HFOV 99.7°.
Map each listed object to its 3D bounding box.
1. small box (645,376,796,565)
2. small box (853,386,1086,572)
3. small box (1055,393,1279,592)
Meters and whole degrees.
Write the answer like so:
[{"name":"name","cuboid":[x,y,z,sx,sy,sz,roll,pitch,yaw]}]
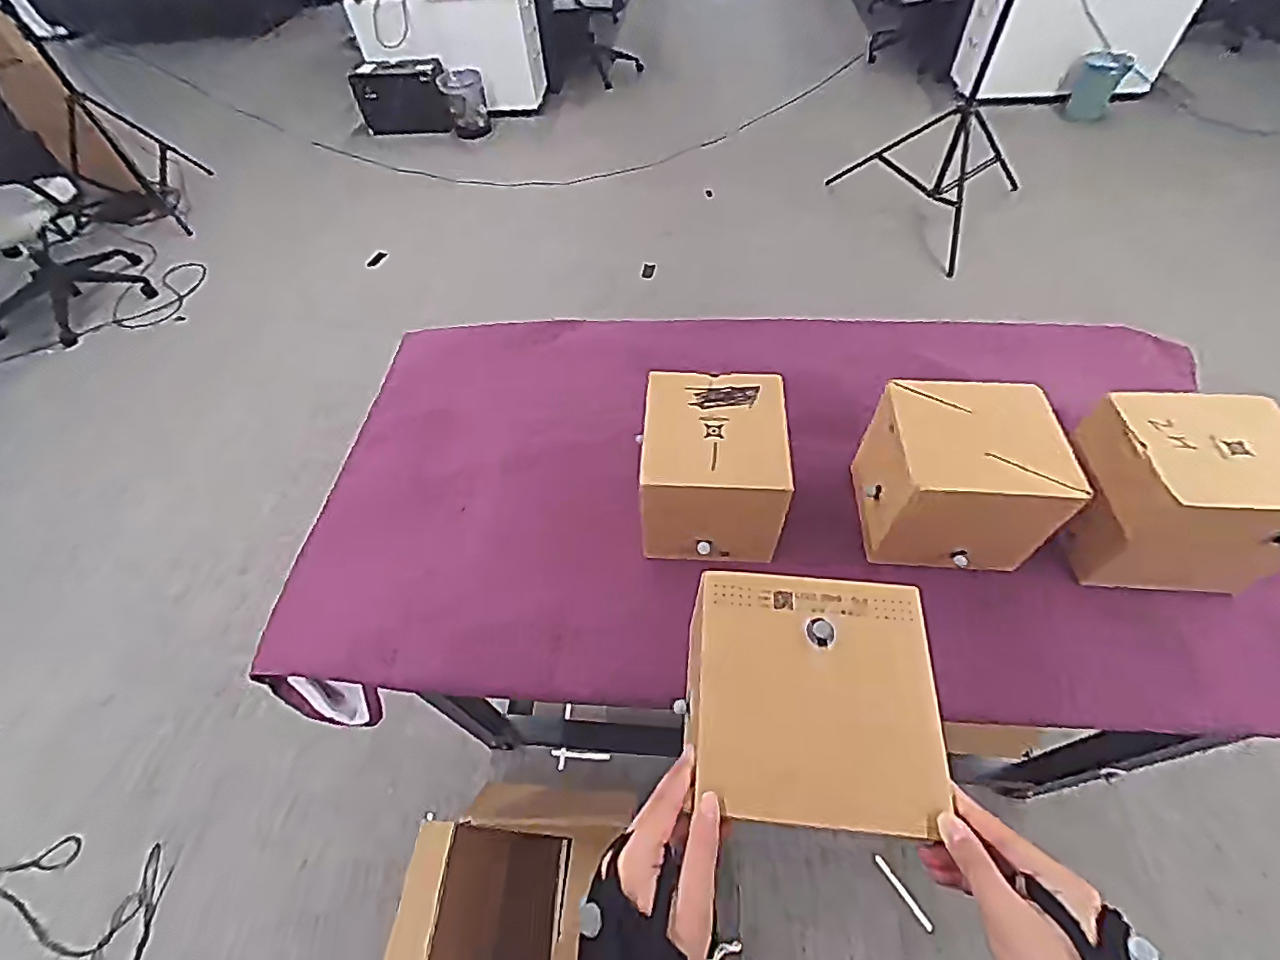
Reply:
[{"name":"small box","cuboid":[0.097,-0.011,0.695,0.168,0.176,0.179,2,54,5]},{"name":"small box","cuboid":[0.384,-0.003,0.667,0.179,0.176,0.168,3,52,7]},{"name":"small box","cuboid":[0.627,0.019,0.637,0.179,0.176,0.168,3,51,6]}]
